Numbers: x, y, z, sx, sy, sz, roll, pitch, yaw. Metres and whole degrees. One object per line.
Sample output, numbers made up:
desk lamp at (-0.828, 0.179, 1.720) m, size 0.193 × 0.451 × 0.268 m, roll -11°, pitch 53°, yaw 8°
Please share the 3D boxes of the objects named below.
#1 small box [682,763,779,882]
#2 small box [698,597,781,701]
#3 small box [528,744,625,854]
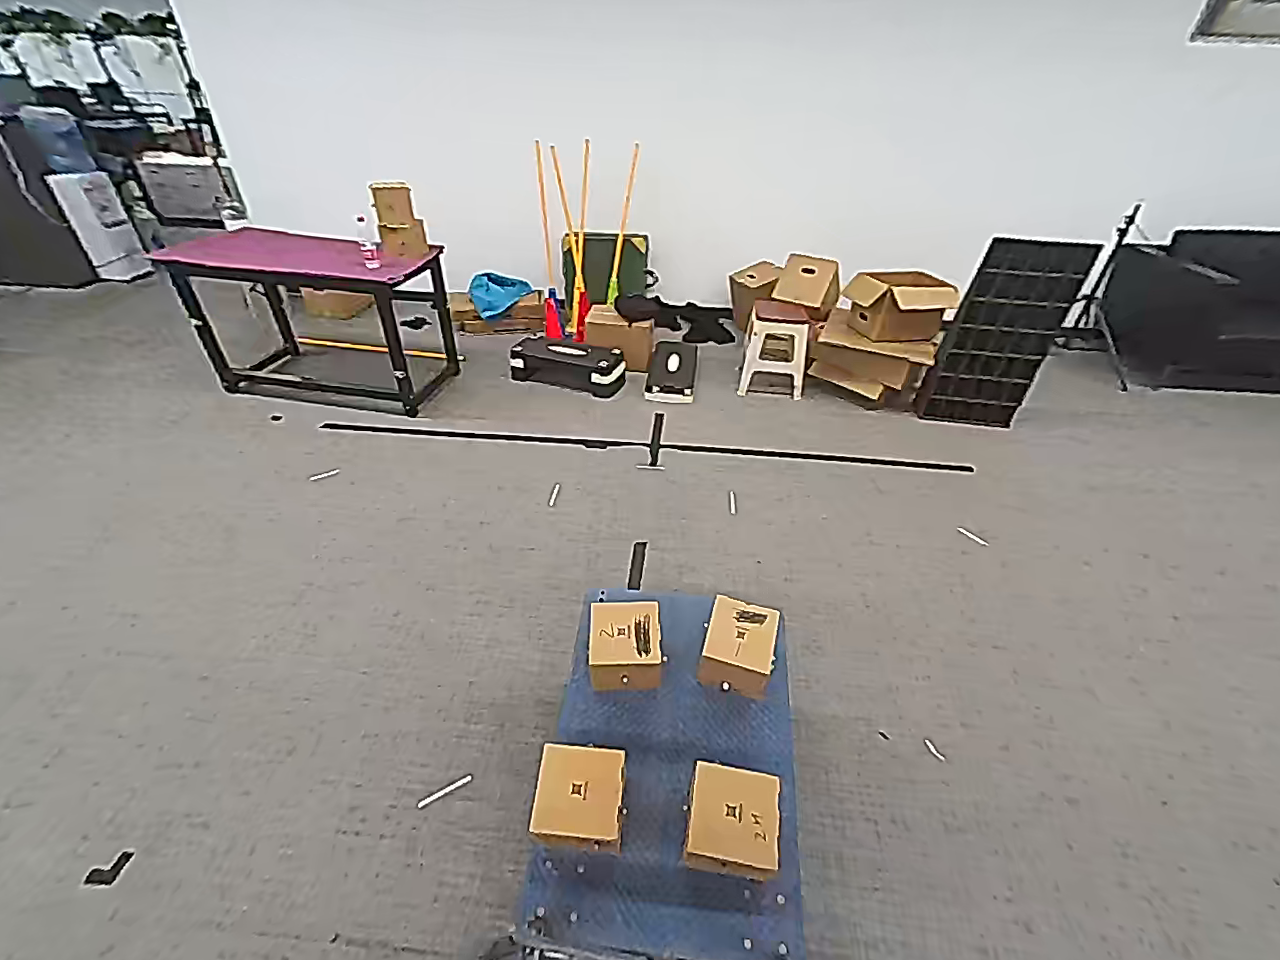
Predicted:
small box at (0.187, 0.720, 1.131) m, size 0.179 × 0.176 × 0.168 m, roll 9°, pitch 49°, yaw 7°
small box at (0.251, 0.435, 1.390) m, size 0.168 × 0.176 × 0.179 m, roll 14°, pitch 50°, yaw 12°
small box at (-0.128, 0.686, 1.158) m, size 0.179 × 0.176 × 0.168 m, roll 5°, pitch 48°, yaw 2°
